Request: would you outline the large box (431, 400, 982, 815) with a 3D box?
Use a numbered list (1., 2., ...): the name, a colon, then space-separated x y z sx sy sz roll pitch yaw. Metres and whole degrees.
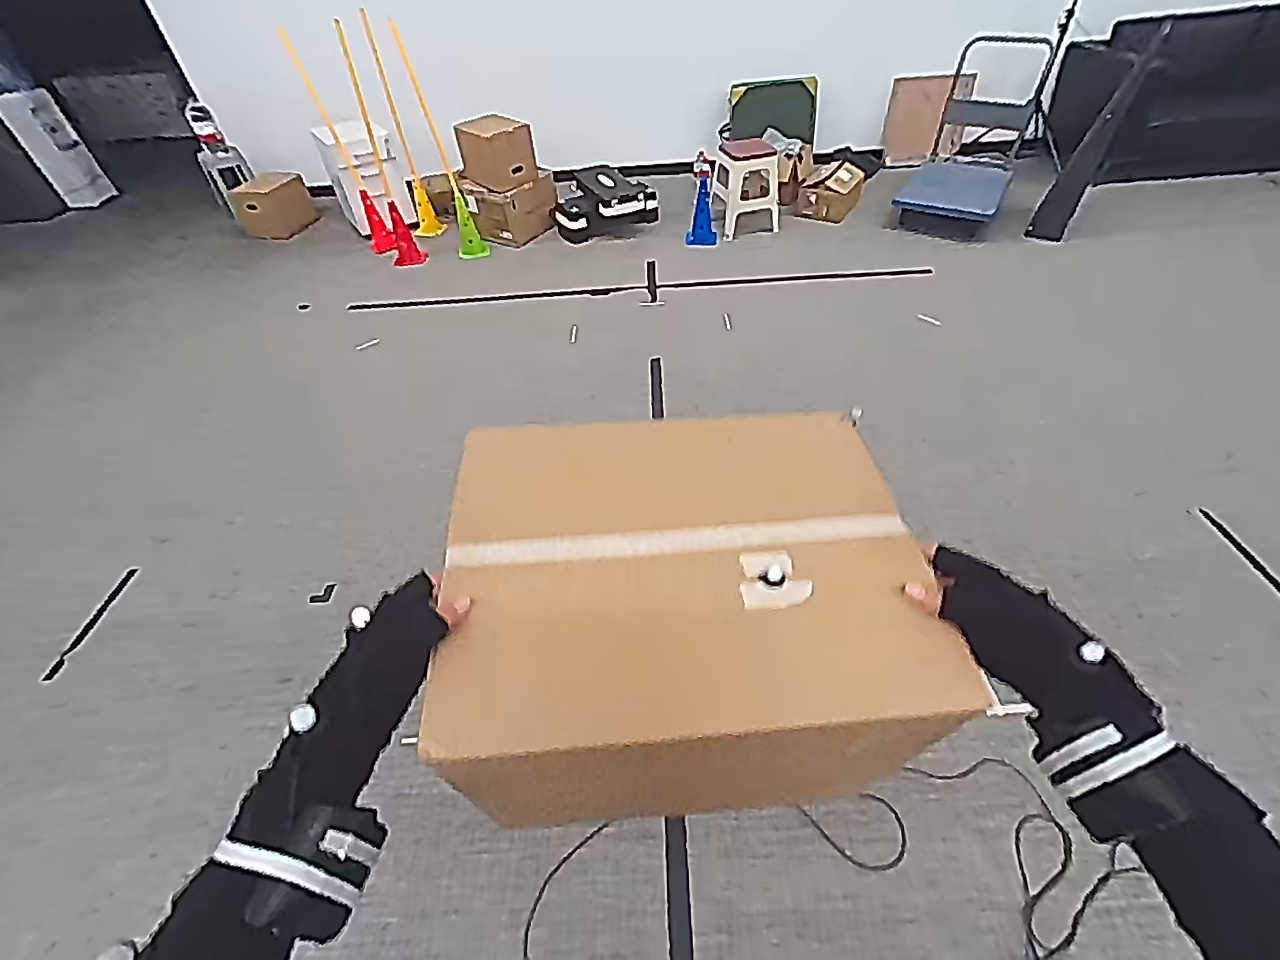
1. large box: 0.034 0.137 0.583 0.408 0.320 0.320 -3 50 -5
